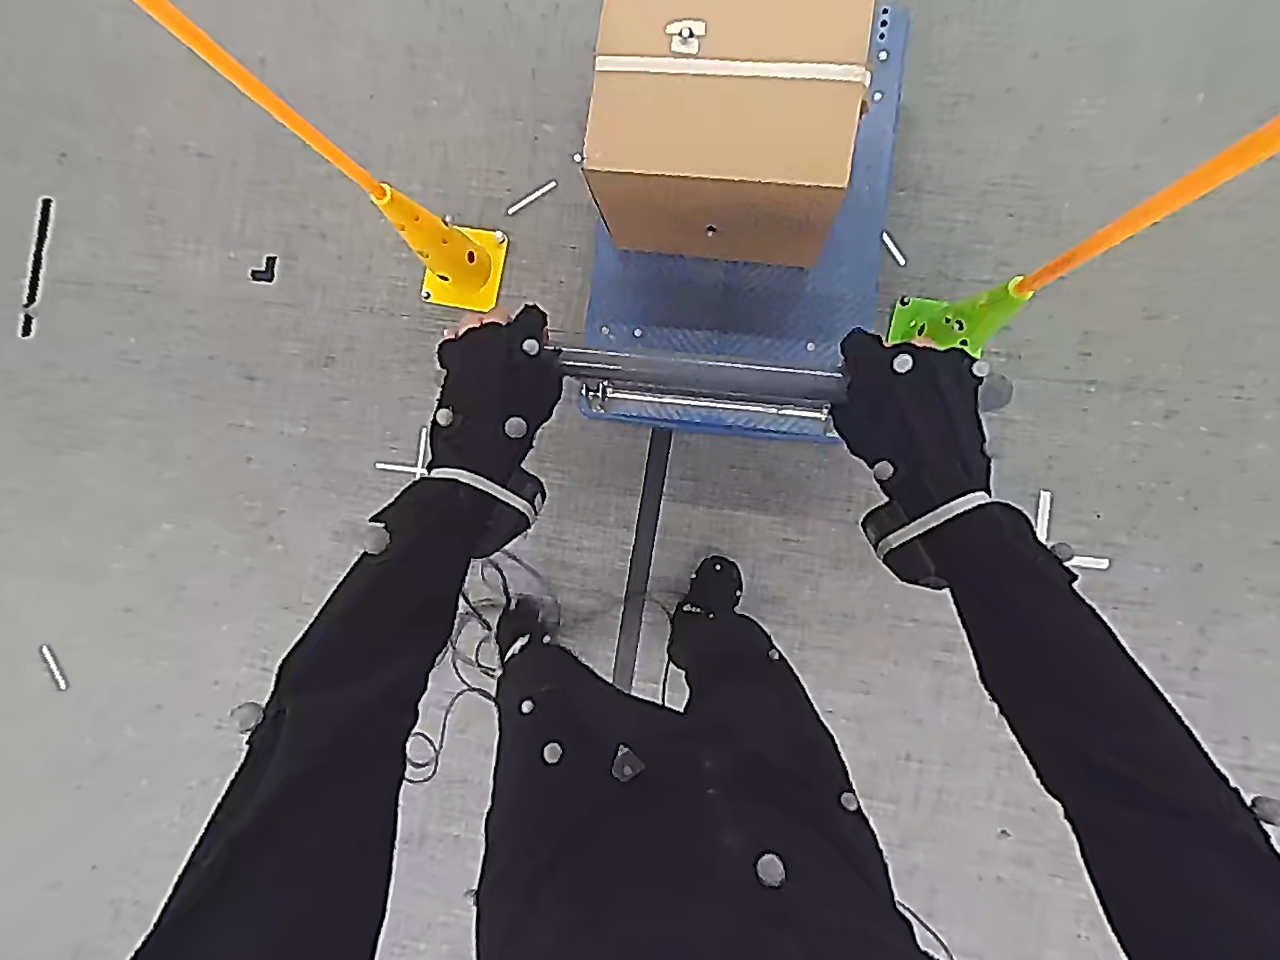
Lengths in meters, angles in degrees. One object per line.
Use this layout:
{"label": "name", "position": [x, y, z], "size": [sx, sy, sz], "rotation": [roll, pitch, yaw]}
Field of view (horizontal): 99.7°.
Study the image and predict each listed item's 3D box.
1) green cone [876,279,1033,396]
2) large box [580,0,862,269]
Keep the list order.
{"label": "green cone", "position": [0.628, -0.300, 1.046], "size": [0.202, 0.368, 0.200], "rotation": [12, 91, 7]}
{"label": "large box", "position": [0.140, -0.595, 0.973], "size": [0.408, 0.320, 0.320], "rotation": [8, 92, 9]}
